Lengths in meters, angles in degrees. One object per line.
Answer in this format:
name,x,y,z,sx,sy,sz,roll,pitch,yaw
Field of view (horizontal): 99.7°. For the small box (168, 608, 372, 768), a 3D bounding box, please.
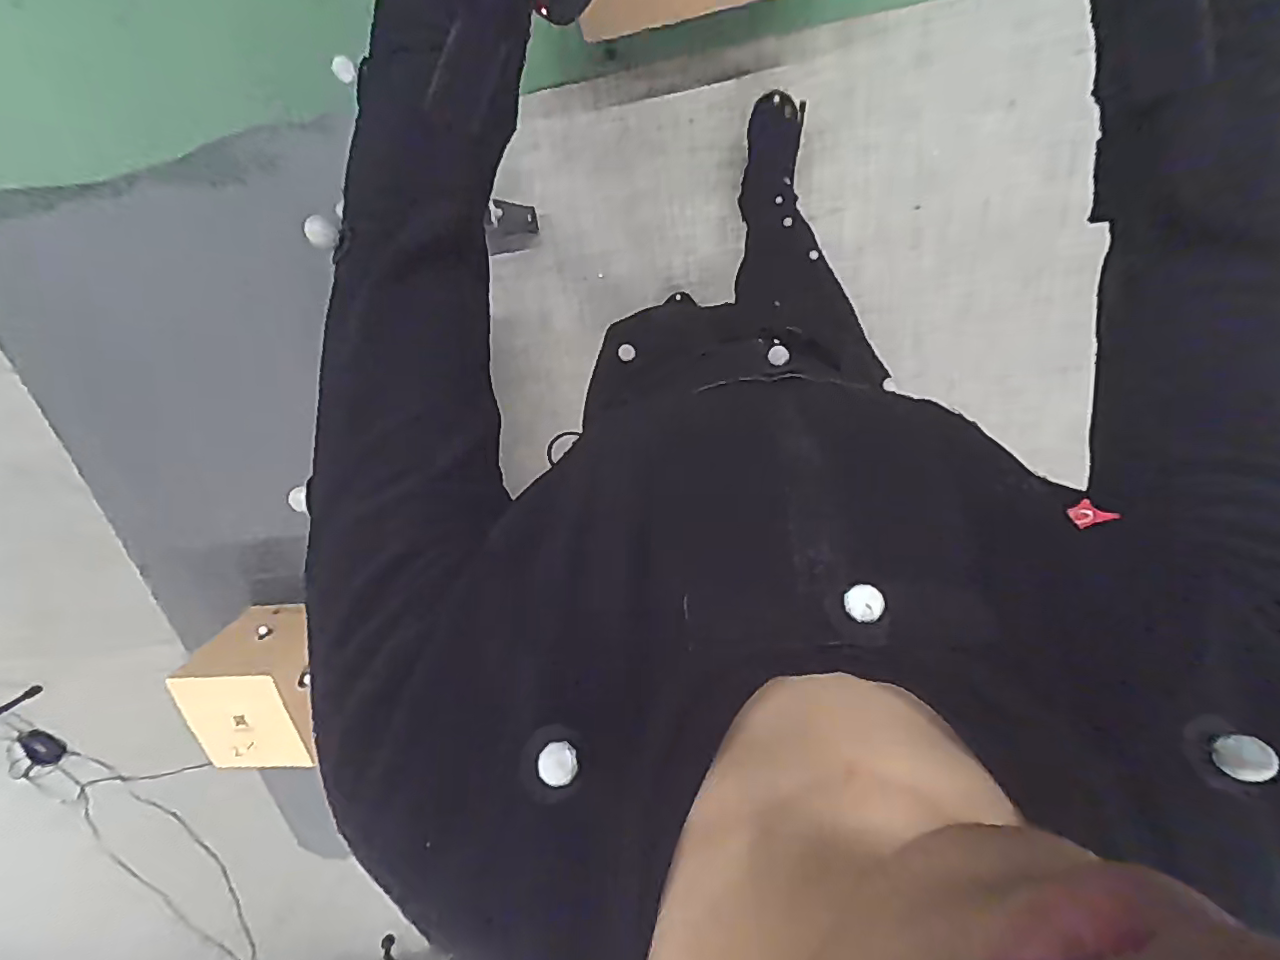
small box,-0.555,0.313,0.839,0.168,0.176,0.179,-4,113,8
